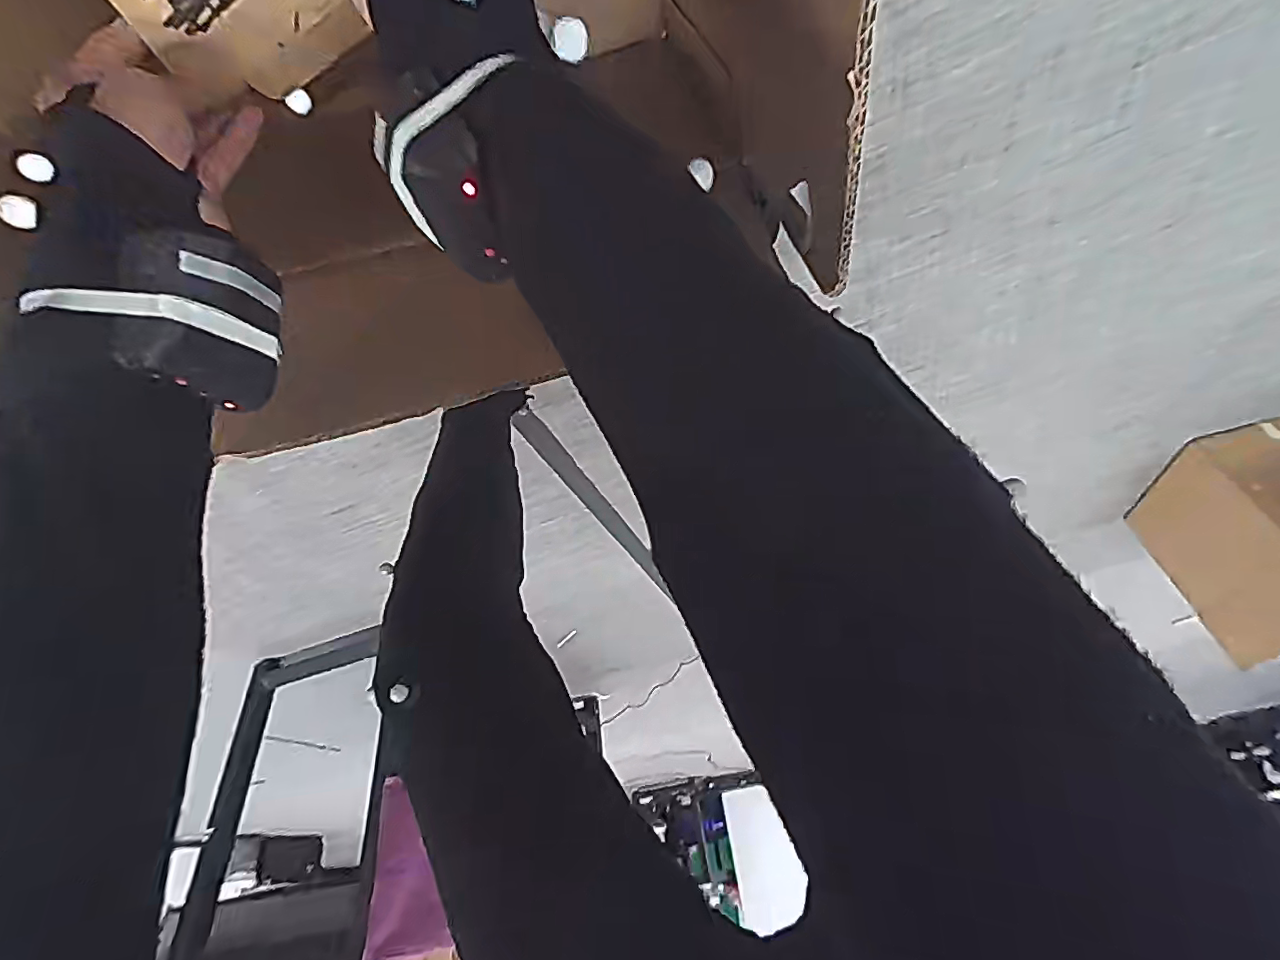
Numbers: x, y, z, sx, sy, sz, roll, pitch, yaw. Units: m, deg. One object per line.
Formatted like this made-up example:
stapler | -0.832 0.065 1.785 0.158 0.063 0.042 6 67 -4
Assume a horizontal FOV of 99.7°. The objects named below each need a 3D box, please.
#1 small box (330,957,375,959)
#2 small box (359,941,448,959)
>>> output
small box | -0.675 1.121 1.128 0.179 0.176 0.168 -21 143 18
small box | -0.582 1.230 1.296 0.179 0.176 0.168 -18 144 12
